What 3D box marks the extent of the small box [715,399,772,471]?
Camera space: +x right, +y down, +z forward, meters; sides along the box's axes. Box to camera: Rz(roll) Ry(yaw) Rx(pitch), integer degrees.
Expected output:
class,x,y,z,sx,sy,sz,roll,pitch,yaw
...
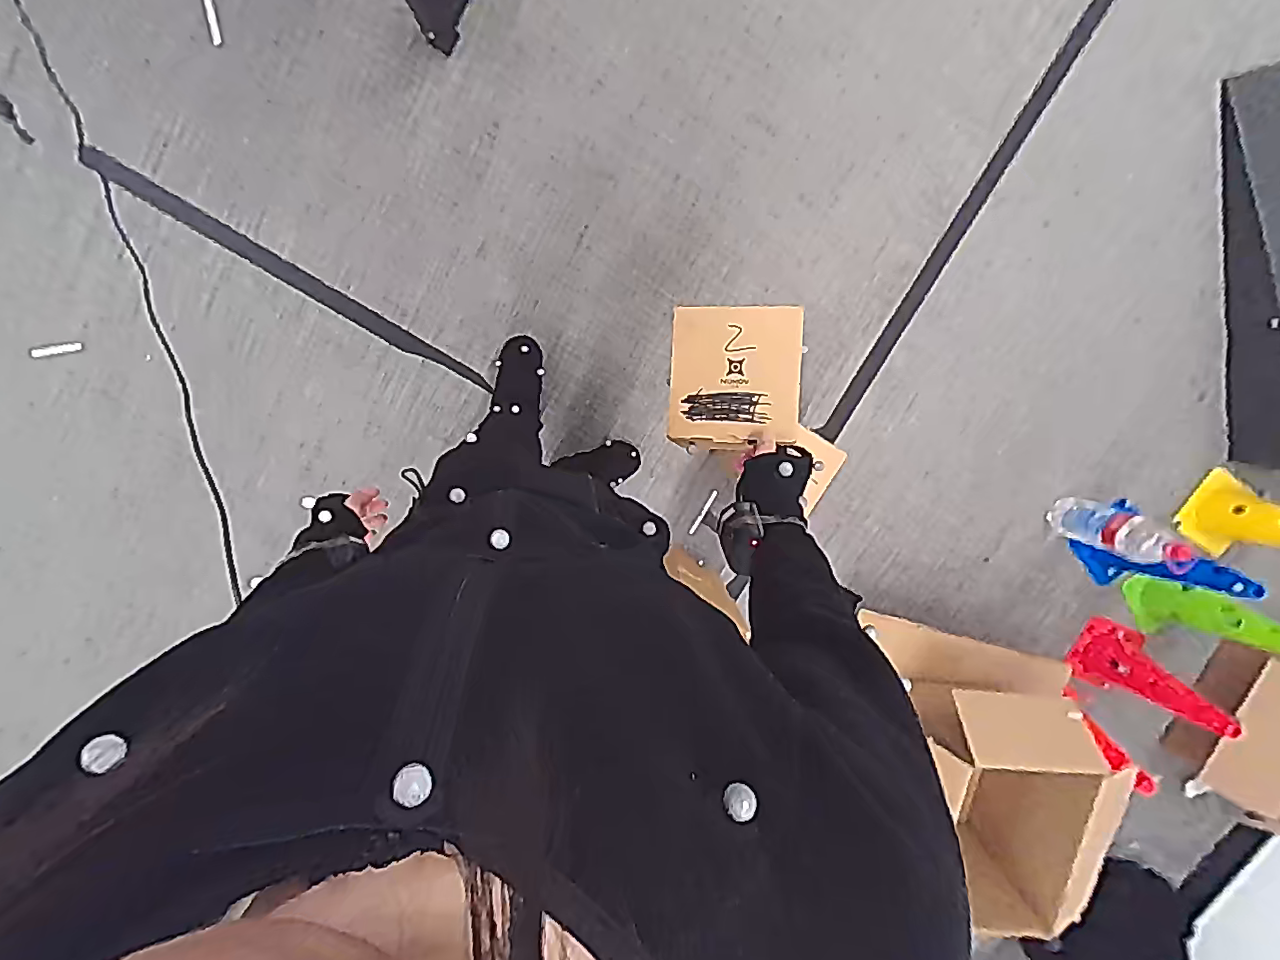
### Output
class,x,y,z,sx,sy,sz,roll,pitch,yaw
small box,0.302,-0.087,1.353,0.168,0.176,0.179,27,98,-10

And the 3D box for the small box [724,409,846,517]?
class,x,y,z,sx,sy,sz,roll,pitch,yaw
small box,0.308,-0.046,1.194,0.179,0.176,0.168,30,99,-11

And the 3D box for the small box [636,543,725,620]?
class,x,y,z,sx,sy,sz,roll,pitch,yaw
small box,0.104,0.297,1.425,0.168,0.176,0.179,34,99,-10

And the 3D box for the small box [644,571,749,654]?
class,x,y,z,sx,sy,sz,roll,pitch,yaw
small box,0.124,0.339,1.269,0.179,0.176,0.168,30,100,-8
